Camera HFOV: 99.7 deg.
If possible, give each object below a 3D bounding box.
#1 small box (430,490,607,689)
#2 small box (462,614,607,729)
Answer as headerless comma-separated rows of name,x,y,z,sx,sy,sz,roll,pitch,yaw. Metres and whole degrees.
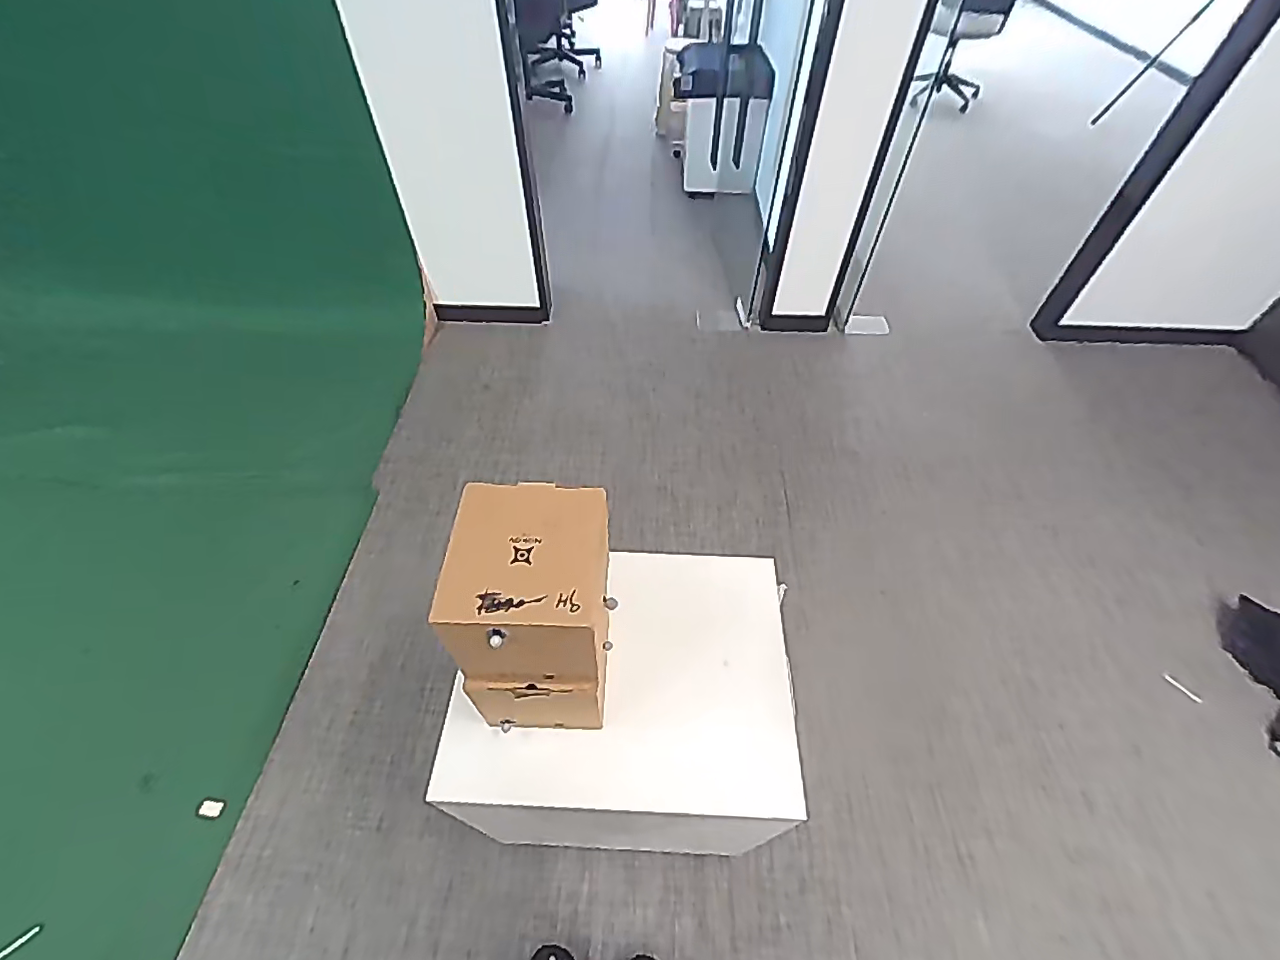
small box,-0.128,0.132,0.652,0.168,0.176,0.179,1,50,0
small box,-0.135,0.243,0.771,0.168,0.176,0.179,2,50,0
